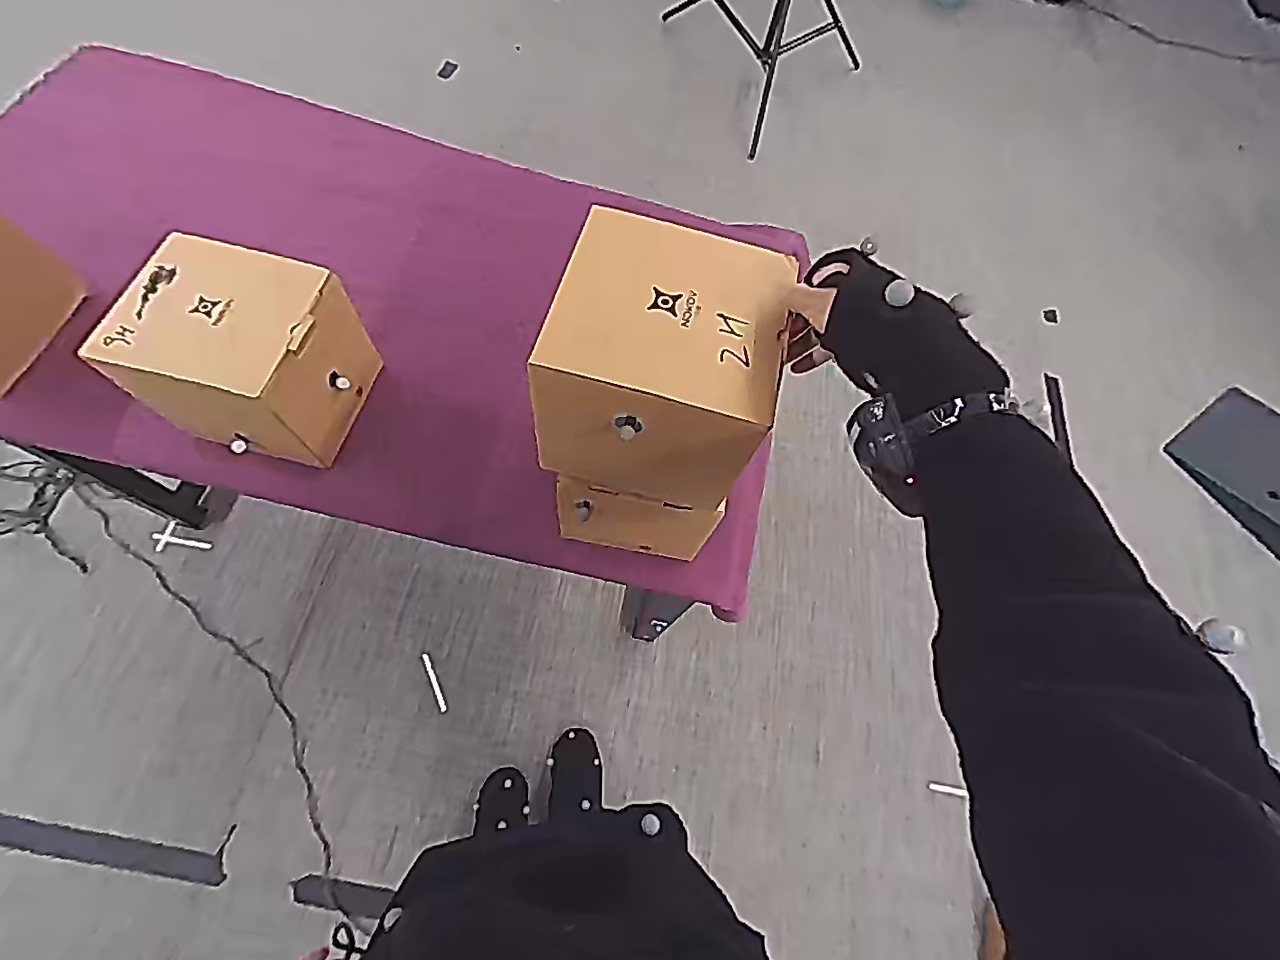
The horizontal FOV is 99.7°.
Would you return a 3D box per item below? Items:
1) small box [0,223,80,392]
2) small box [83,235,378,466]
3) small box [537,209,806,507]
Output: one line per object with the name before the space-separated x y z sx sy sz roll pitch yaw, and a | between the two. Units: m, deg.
small box | -0.799 -0.216 0.594 0.168 0.176 0.179 14 64 -3
small box | -0.427 -0.132 0.608 0.179 0.176 0.168 14 66 -2
small box | 0.022 -0.092 0.471 0.179 0.176 0.168 15 65 -1
